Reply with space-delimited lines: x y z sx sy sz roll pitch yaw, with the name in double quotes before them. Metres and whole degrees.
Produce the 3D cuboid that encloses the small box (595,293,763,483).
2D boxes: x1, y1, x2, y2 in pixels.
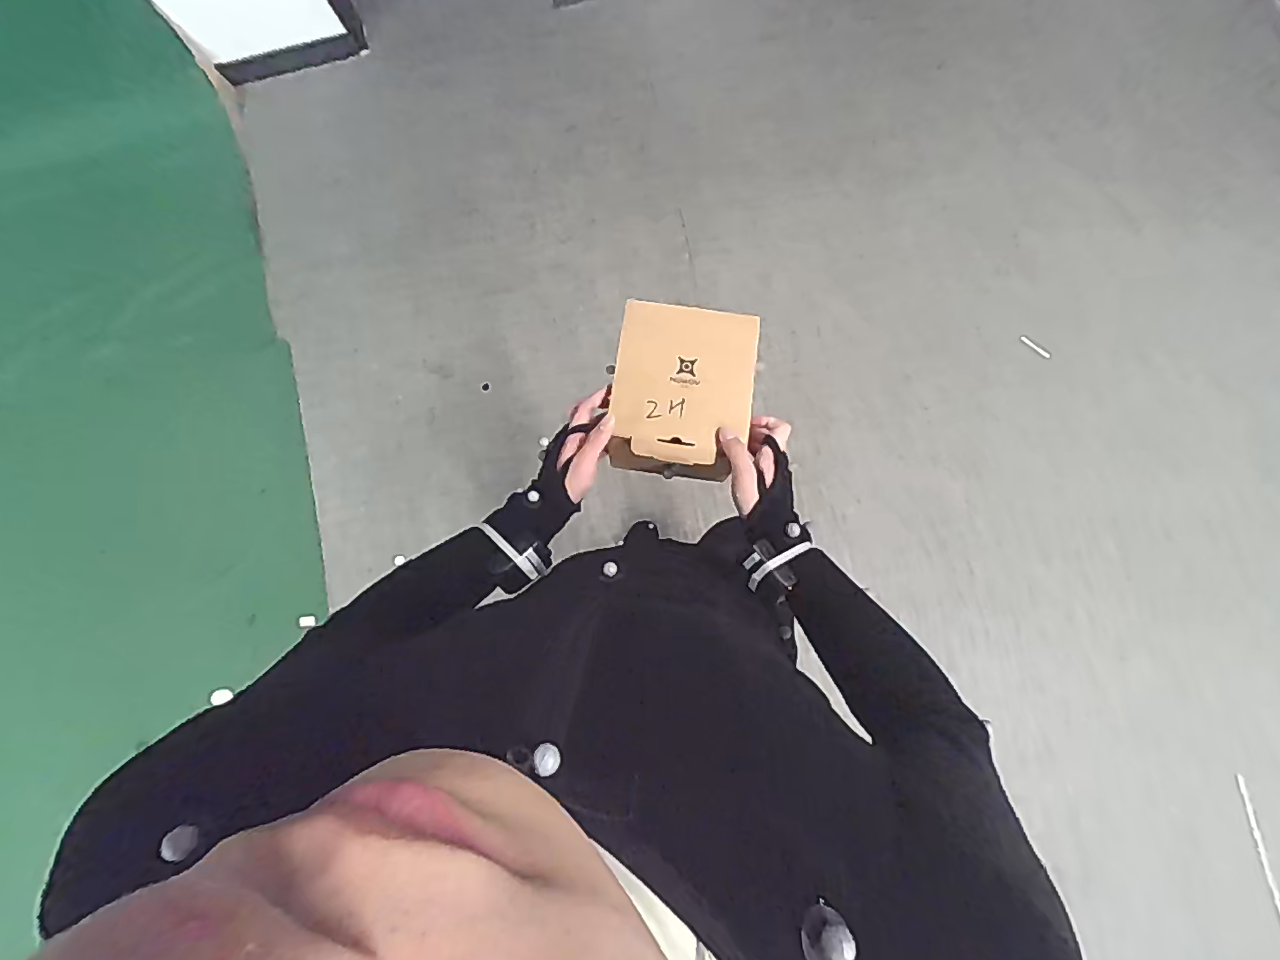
"small box" 0.049 -0.109 0.709 0.168 0.176 0.179 14 80 5
